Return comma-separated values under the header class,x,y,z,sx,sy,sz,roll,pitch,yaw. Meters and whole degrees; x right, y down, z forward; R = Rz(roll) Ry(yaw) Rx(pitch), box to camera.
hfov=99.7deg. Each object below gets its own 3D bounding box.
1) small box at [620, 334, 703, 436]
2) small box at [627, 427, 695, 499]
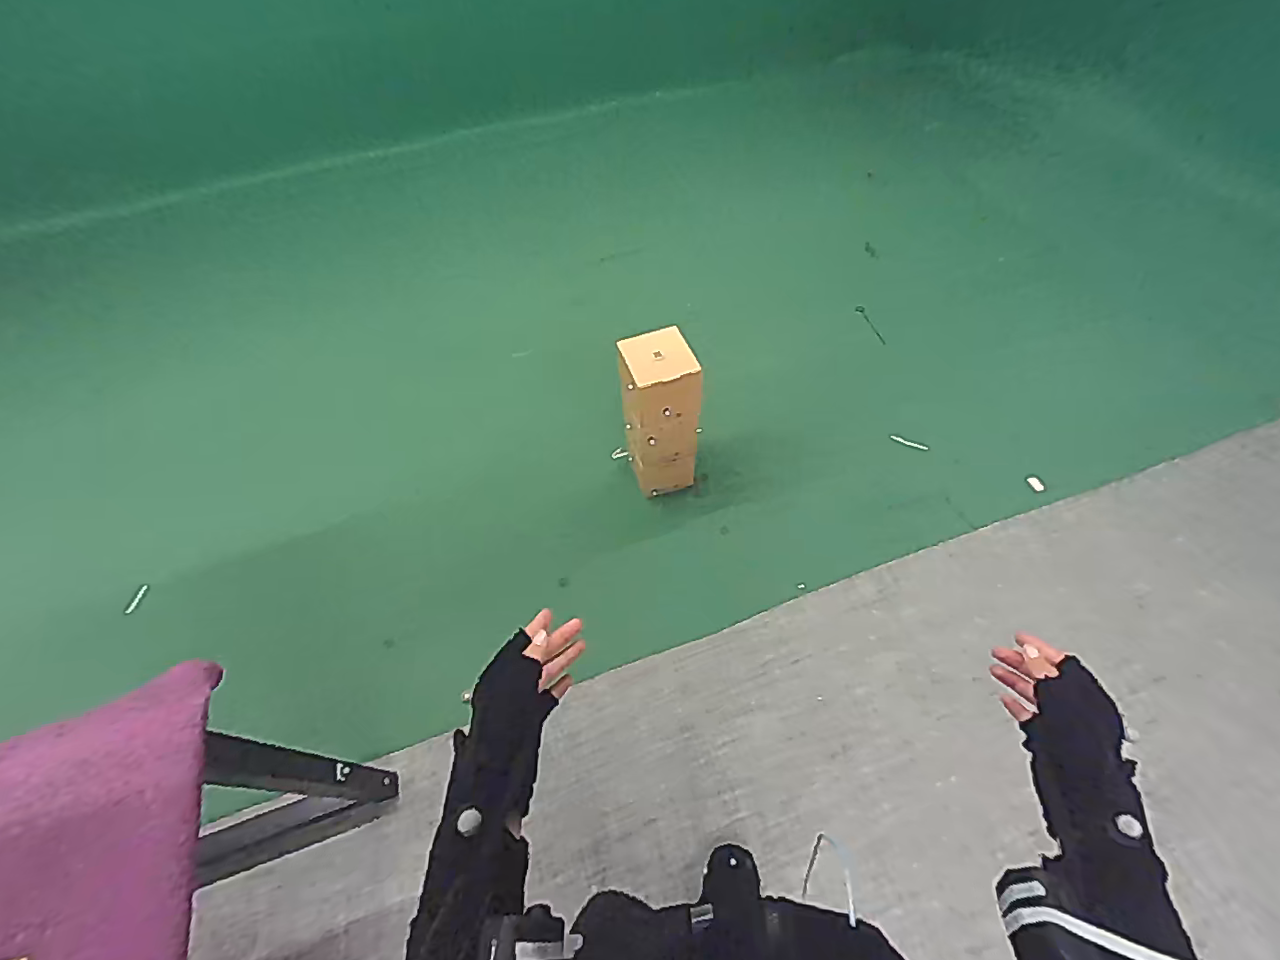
class,x,y,z,sx,sy,sz,roll,pitch,yaw
small box,0.053,-0.245,1.411,0.168,0.176,0.179,-18,56,-9
small box,0.068,-0.058,1.680,0.168,0.176,0.179,-16,56,-8
